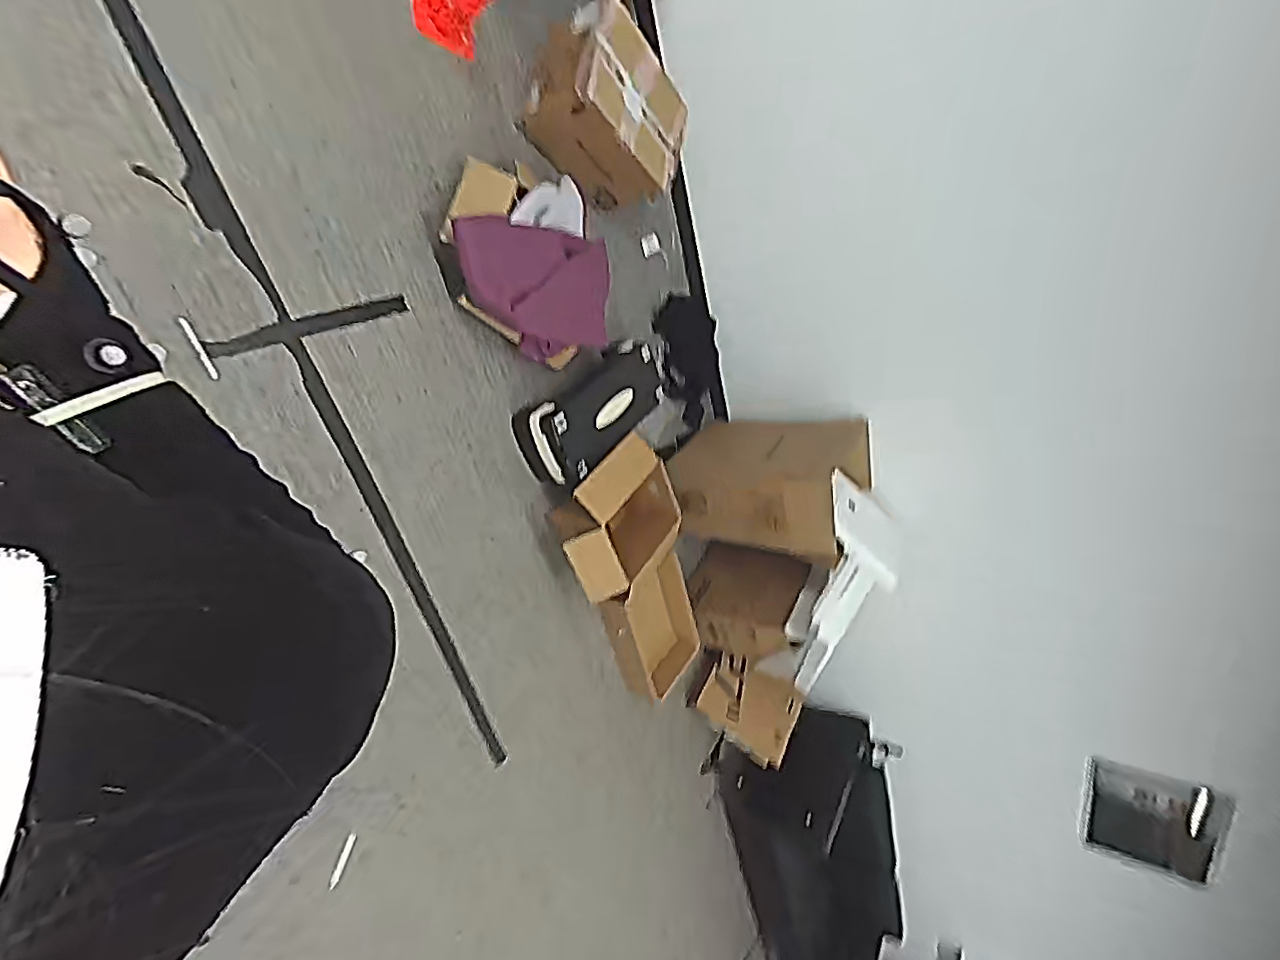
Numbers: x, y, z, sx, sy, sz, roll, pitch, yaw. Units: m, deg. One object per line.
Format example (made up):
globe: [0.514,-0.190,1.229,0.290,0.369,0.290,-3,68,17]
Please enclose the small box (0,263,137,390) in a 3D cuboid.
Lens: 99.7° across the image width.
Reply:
small box: [-1.078,-0.274,0.975,0.179,0.176,0.168,-44,126,-39]
